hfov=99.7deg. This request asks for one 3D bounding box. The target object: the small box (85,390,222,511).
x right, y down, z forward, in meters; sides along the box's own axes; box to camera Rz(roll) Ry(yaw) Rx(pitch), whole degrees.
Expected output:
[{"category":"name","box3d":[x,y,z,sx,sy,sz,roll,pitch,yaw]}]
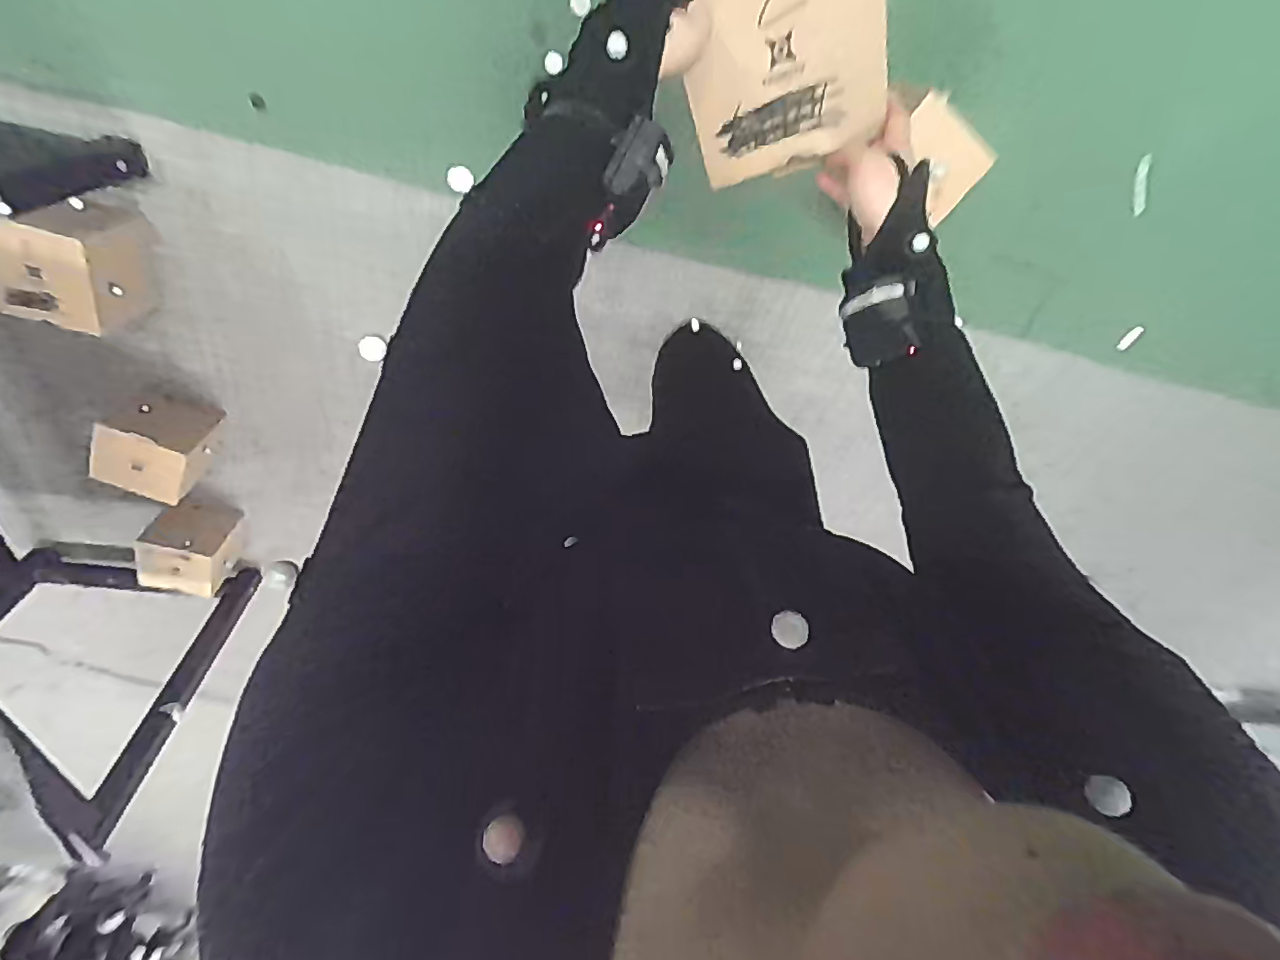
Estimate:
[{"category":"small box","box3d":[-1.078,-0.069,1.210,0.168,0.176,0.179,27,123,-23]}]

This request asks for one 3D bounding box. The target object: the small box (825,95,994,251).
[{"category":"small box","box3d":[0.463,-0.545,0.957,0.179,0.176,0.168,25,123,-24]}]

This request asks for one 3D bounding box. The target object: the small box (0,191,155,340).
[{"category":"small box","box3d":[-1.011,-0.382,0.960,0.168,0.176,0.179,13,126,-16]}]

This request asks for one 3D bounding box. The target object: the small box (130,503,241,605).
[{"category":"small box","box3d":[-1.179,0.193,1.415,0.168,0.176,0.179,19,126,-20]}]
